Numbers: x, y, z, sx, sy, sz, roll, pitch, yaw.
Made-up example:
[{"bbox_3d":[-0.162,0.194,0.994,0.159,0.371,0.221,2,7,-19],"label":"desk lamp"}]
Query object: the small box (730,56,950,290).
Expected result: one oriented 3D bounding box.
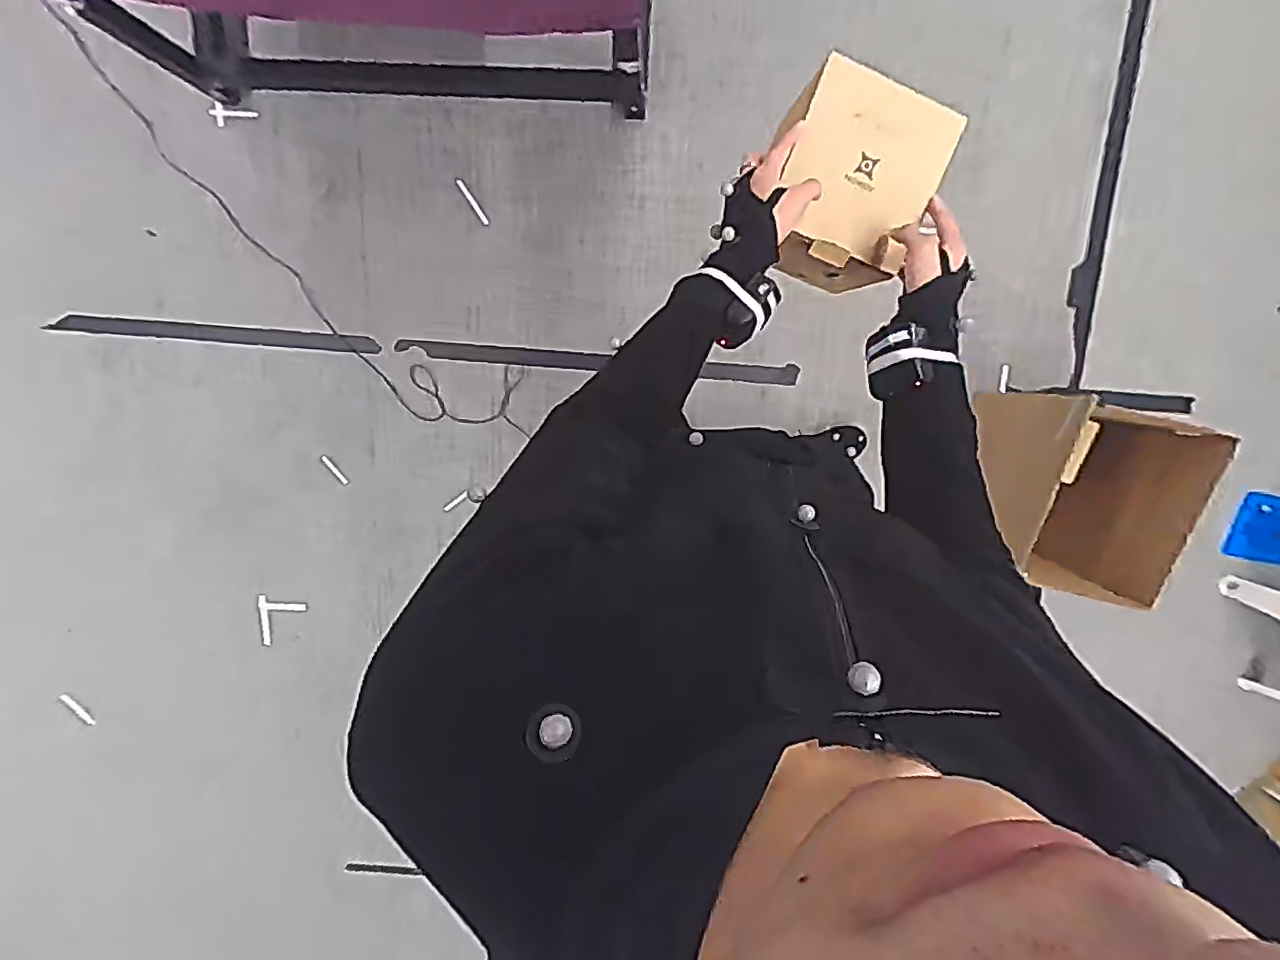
[{"bbox_3d":[0.222,-0.349,0.659,0.168,0.176,0.179,19,100,-7],"label":"small box"}]
